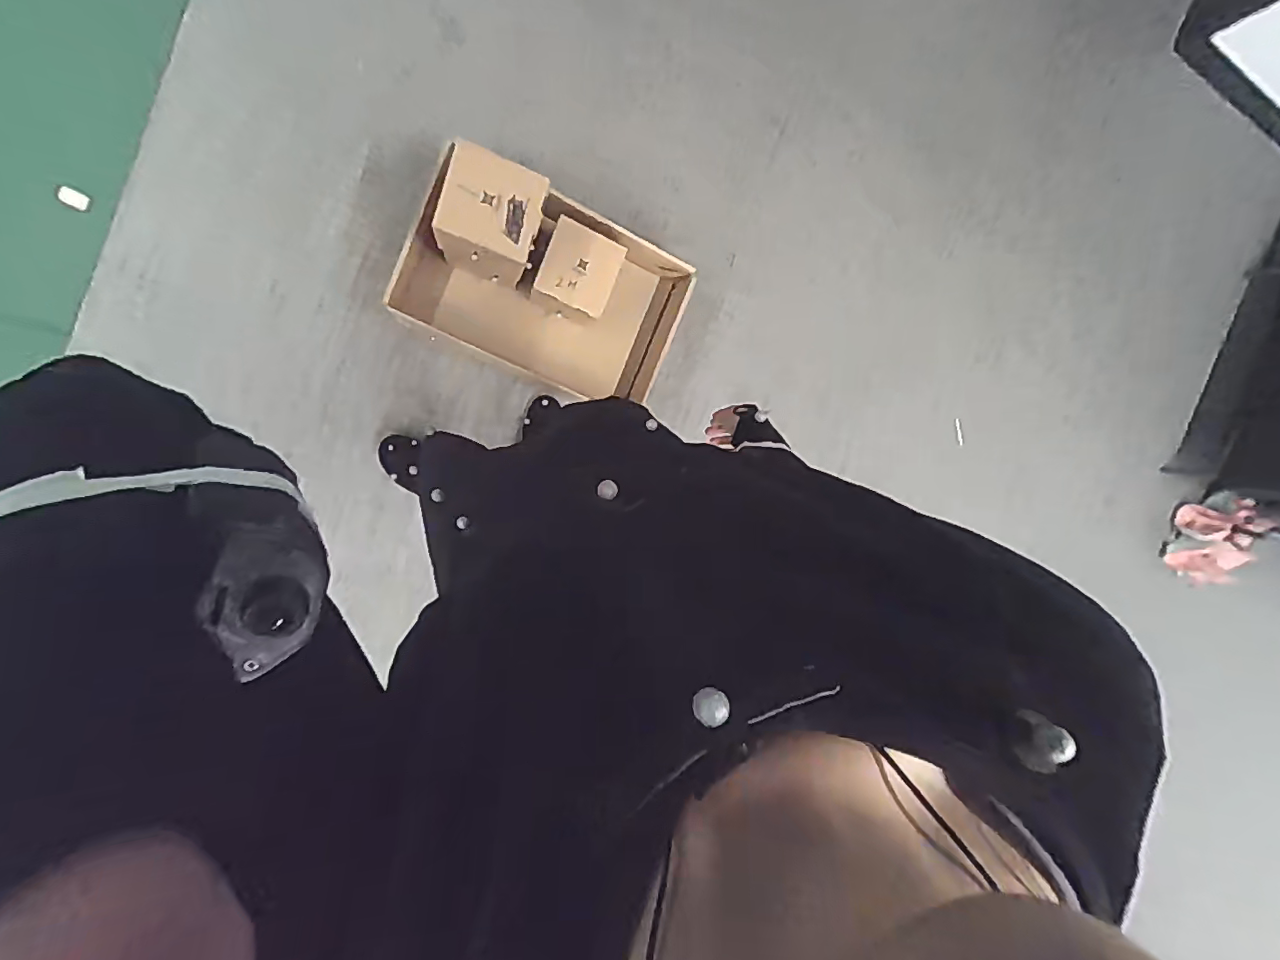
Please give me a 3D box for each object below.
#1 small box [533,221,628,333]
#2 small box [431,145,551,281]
[{"bbox_3d":[-0.150,-0.472,1.285,0.168,0.176,0.179,22,92,-15],"label":"small box"},{"bbox_3d":[-0.292,-0.512,1.071,0.179,0.176,0.168,18,93,-16],"label":"small box"}]
